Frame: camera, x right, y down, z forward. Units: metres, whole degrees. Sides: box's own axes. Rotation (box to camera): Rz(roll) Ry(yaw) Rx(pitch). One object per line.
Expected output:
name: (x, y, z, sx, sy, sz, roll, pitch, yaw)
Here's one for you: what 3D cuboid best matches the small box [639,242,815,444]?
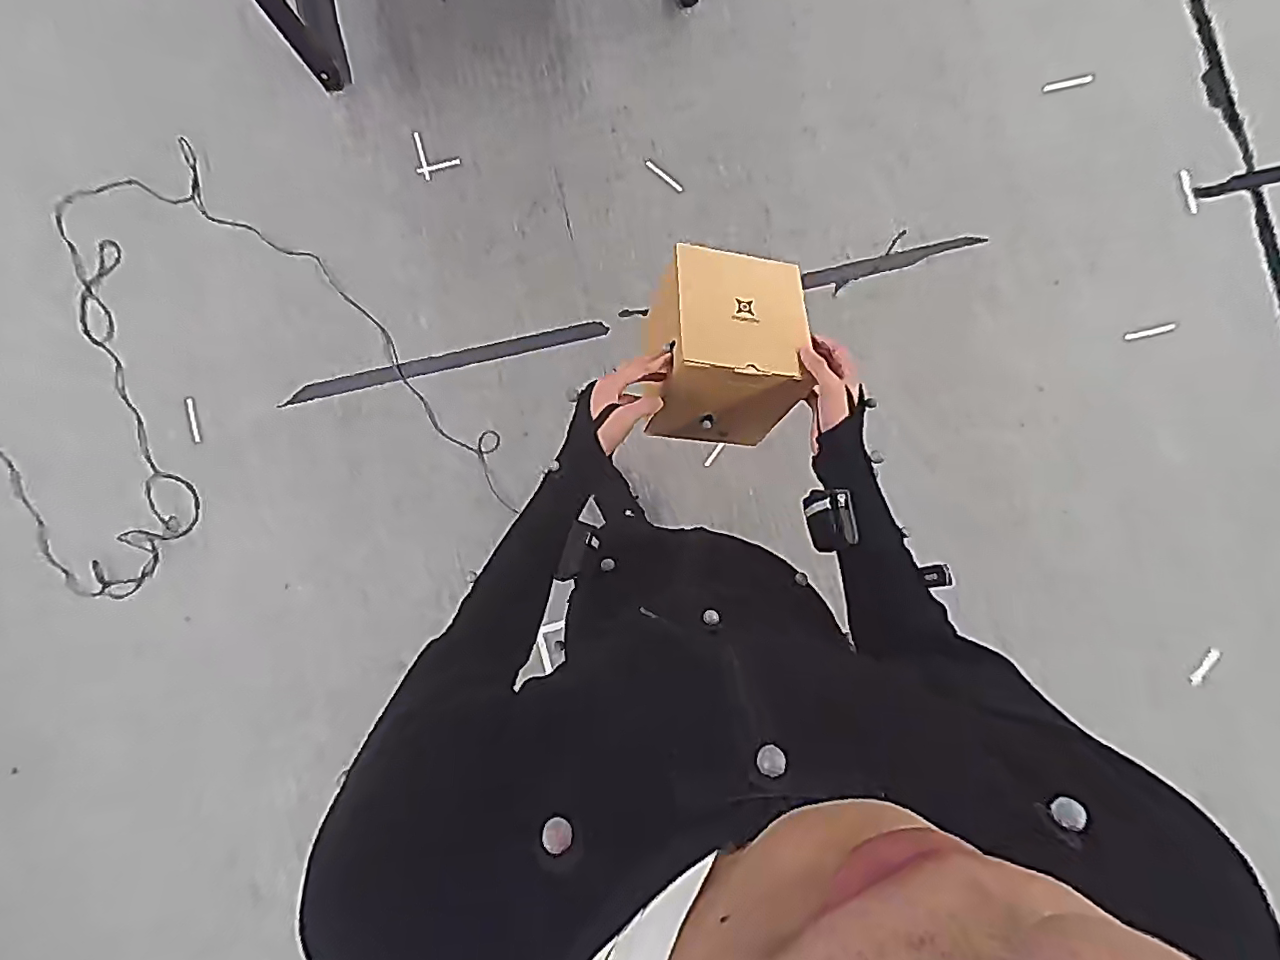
small box: (0.098, -0.167, 0.698, 0.168, 0.176, 0.179, 4, 66, -14)
